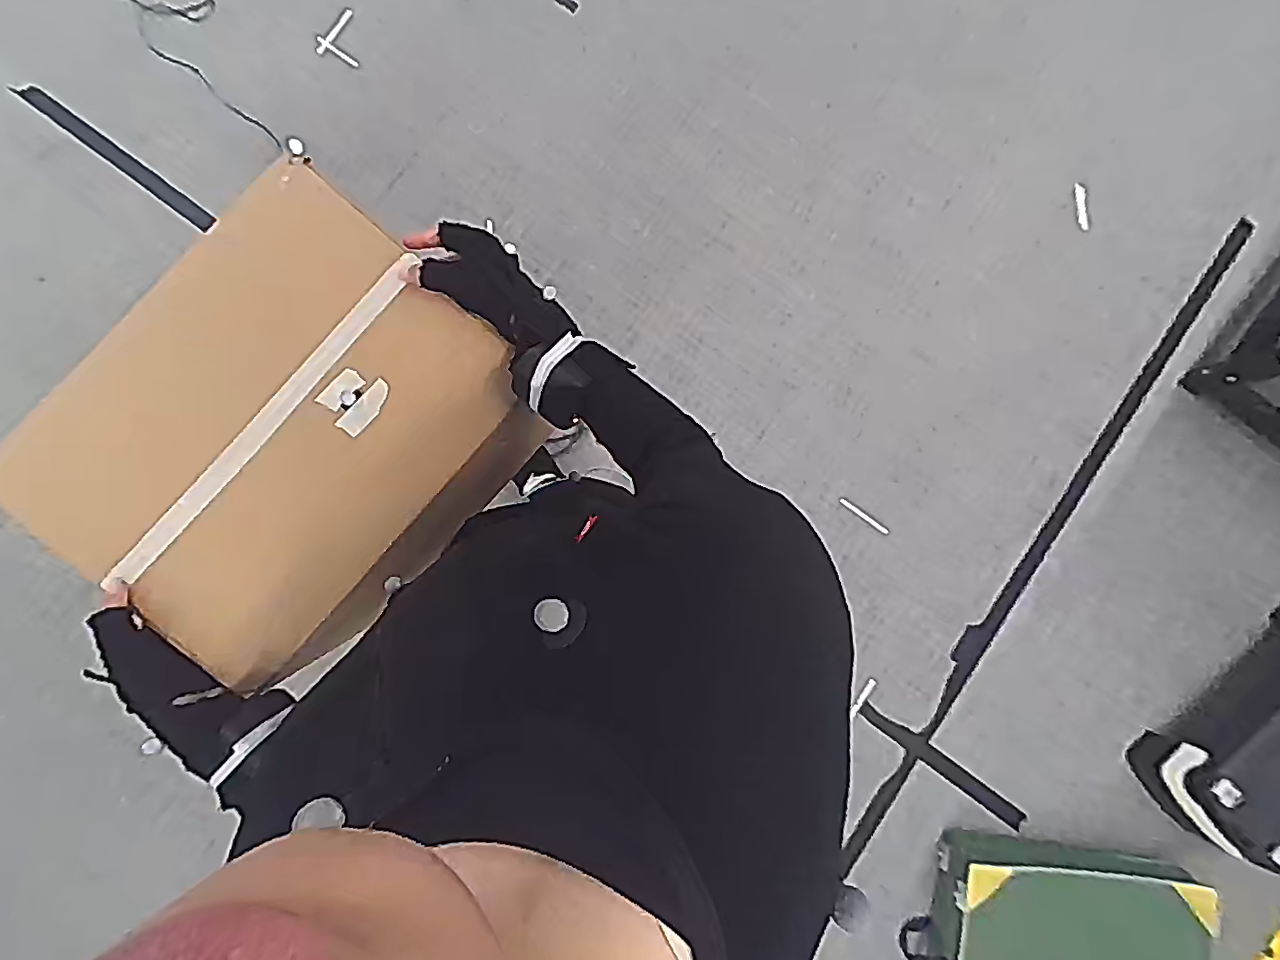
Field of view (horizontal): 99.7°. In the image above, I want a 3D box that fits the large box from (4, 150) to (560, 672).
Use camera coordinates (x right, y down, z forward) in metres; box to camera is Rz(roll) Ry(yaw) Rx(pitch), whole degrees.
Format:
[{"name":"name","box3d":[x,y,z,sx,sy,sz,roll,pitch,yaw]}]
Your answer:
[{"name":"large box","box3d":[-0.347,-0.063,0.654,0.320,0.320,0.408,41,86,-4]}]
